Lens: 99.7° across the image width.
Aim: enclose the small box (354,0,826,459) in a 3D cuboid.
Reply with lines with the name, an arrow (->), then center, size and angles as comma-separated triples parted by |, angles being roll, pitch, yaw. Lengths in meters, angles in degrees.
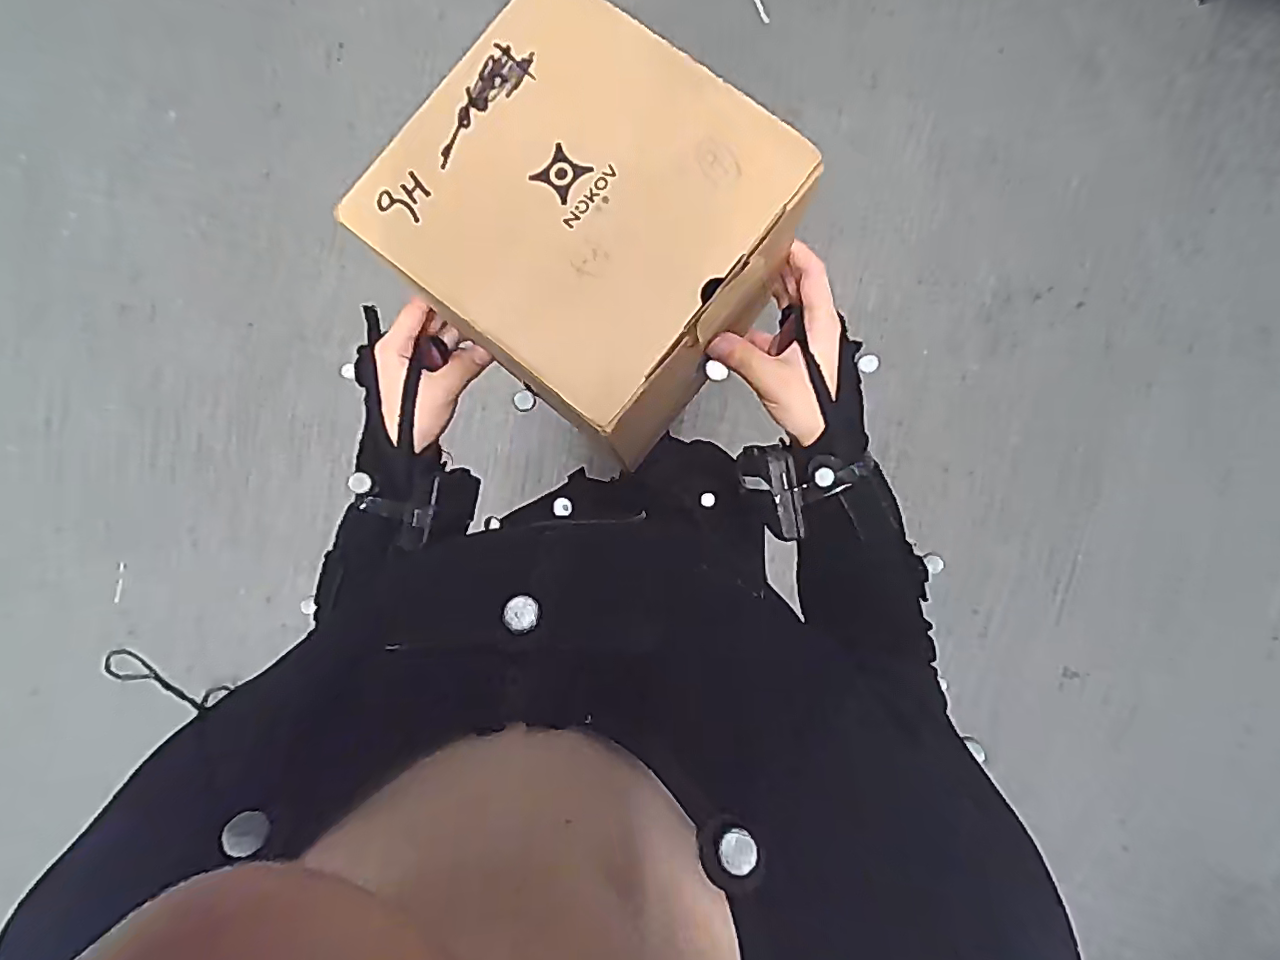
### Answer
small box -> -0.022, -0.127, 0.343 | 0.179, 0.176, 0.168 | 40, 88, 5
